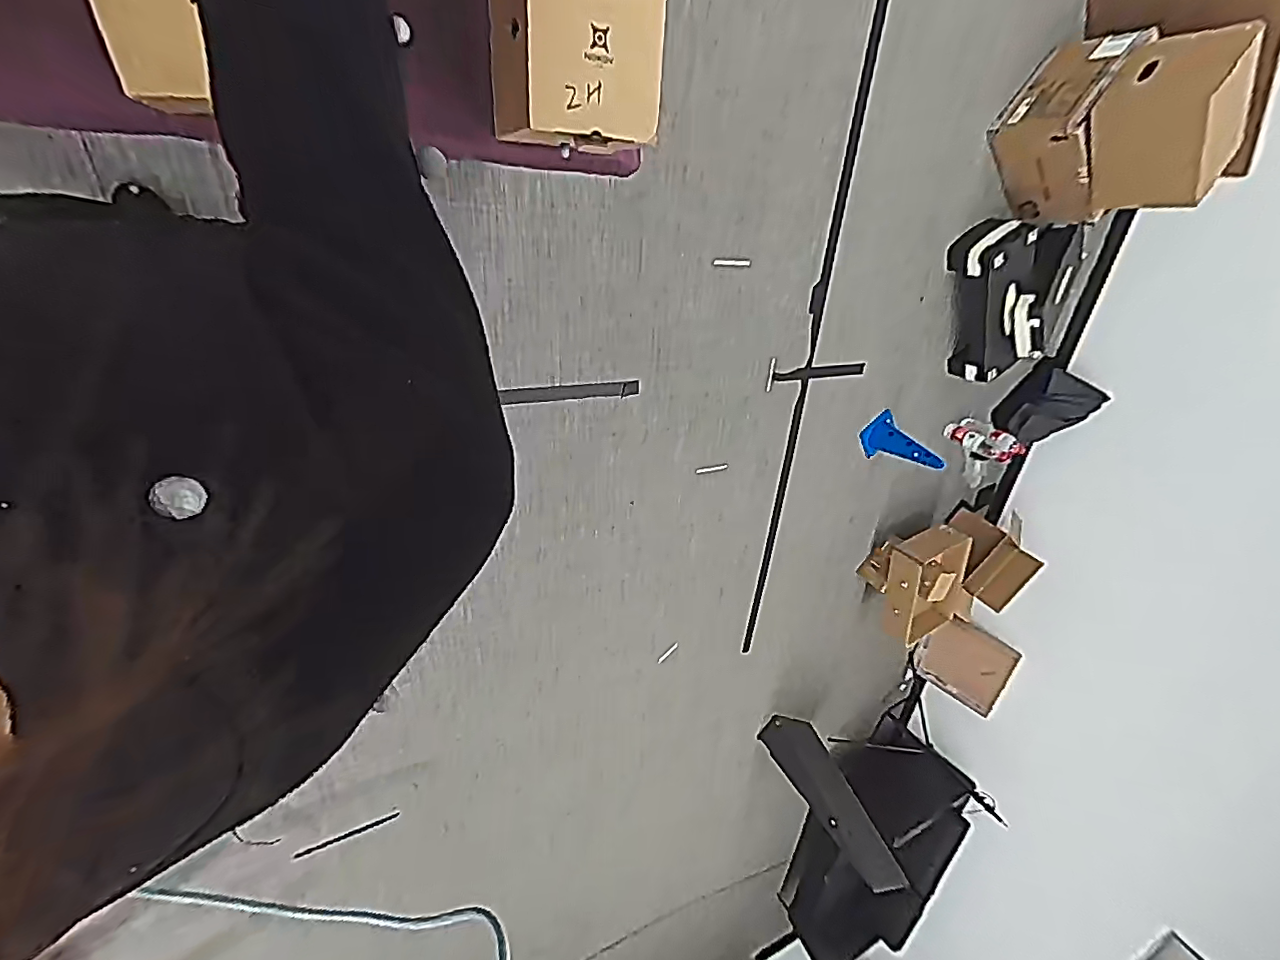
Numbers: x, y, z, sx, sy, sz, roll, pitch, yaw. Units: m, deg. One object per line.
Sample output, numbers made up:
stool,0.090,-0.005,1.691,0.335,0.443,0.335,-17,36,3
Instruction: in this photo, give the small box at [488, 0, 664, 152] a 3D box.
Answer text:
small box,-0.085,-0.518,0.666,0.168,0.176,0.179,-9,120,-25

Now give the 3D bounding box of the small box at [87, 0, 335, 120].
small box,-0.405,-0.456,0.513,0.168,0.176,0.179,-14,124,-23
